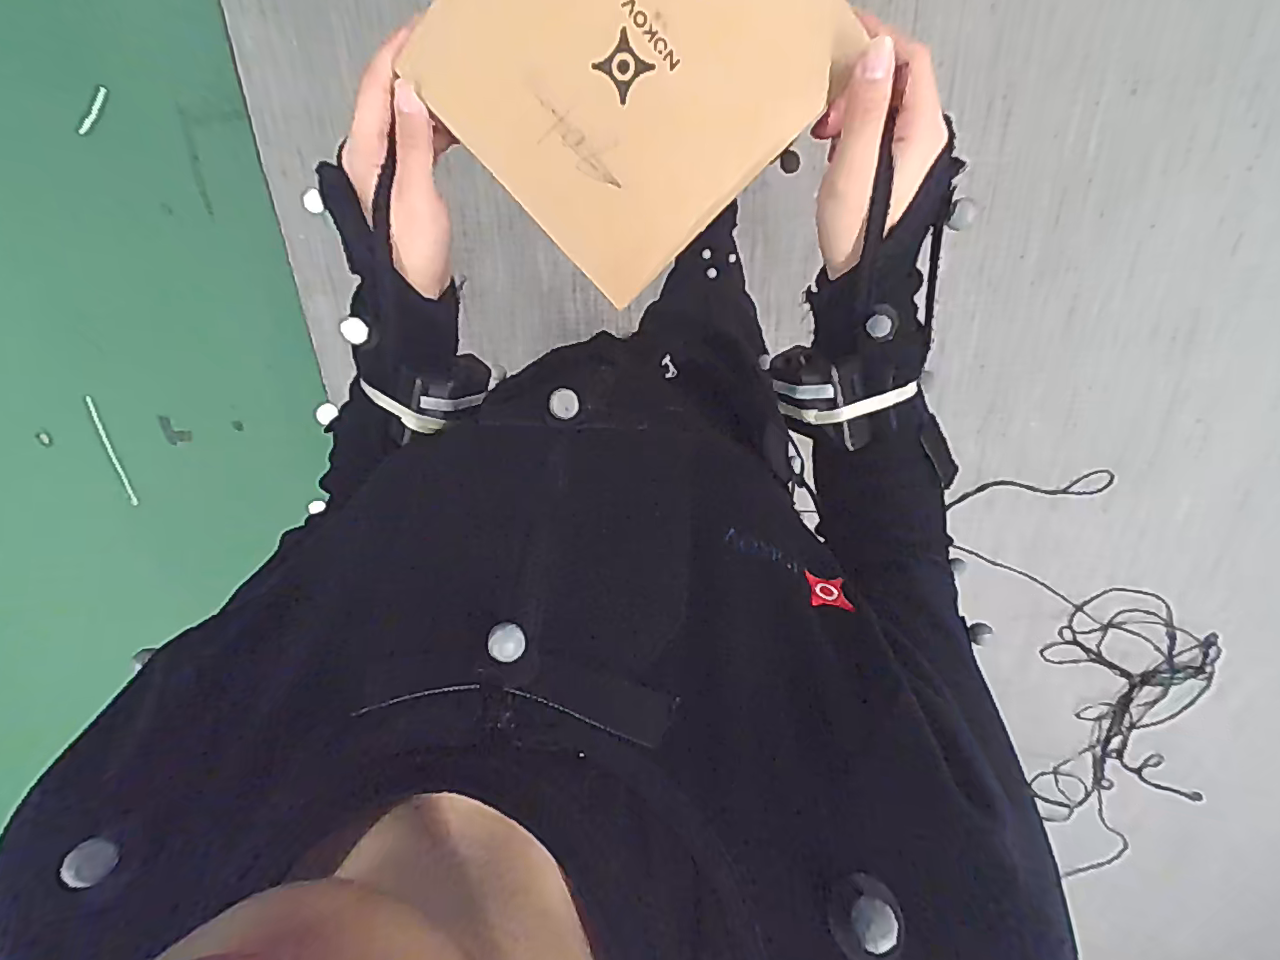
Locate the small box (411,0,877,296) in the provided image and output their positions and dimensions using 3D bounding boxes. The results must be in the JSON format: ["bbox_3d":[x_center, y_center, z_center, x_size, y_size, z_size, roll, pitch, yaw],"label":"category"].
[{"bbox_3d":[0.004,-0.246,0.338,0.179,0.176,0.168,-41,104,21],"label":"small box"}]
